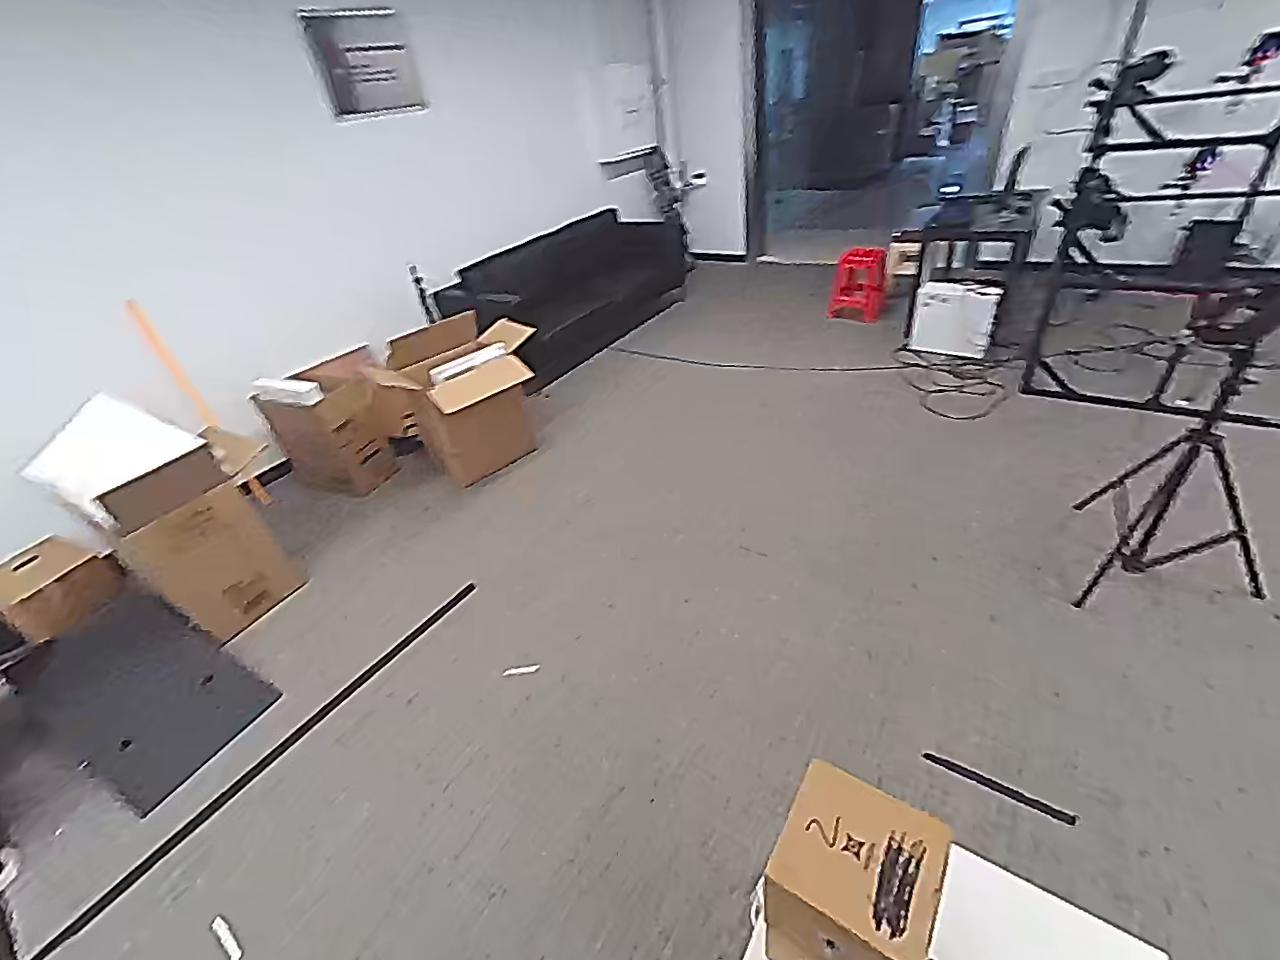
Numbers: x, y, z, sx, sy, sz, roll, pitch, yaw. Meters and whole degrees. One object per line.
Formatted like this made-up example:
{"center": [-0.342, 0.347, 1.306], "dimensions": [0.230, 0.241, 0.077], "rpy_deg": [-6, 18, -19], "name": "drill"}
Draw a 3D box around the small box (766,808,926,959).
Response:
{"center": [0.296, 0.638, 0.787], "dimensions": [0.168, 0.176, 0.179], "rpy_deg": [17, 42, 32], "name": "small box"}
